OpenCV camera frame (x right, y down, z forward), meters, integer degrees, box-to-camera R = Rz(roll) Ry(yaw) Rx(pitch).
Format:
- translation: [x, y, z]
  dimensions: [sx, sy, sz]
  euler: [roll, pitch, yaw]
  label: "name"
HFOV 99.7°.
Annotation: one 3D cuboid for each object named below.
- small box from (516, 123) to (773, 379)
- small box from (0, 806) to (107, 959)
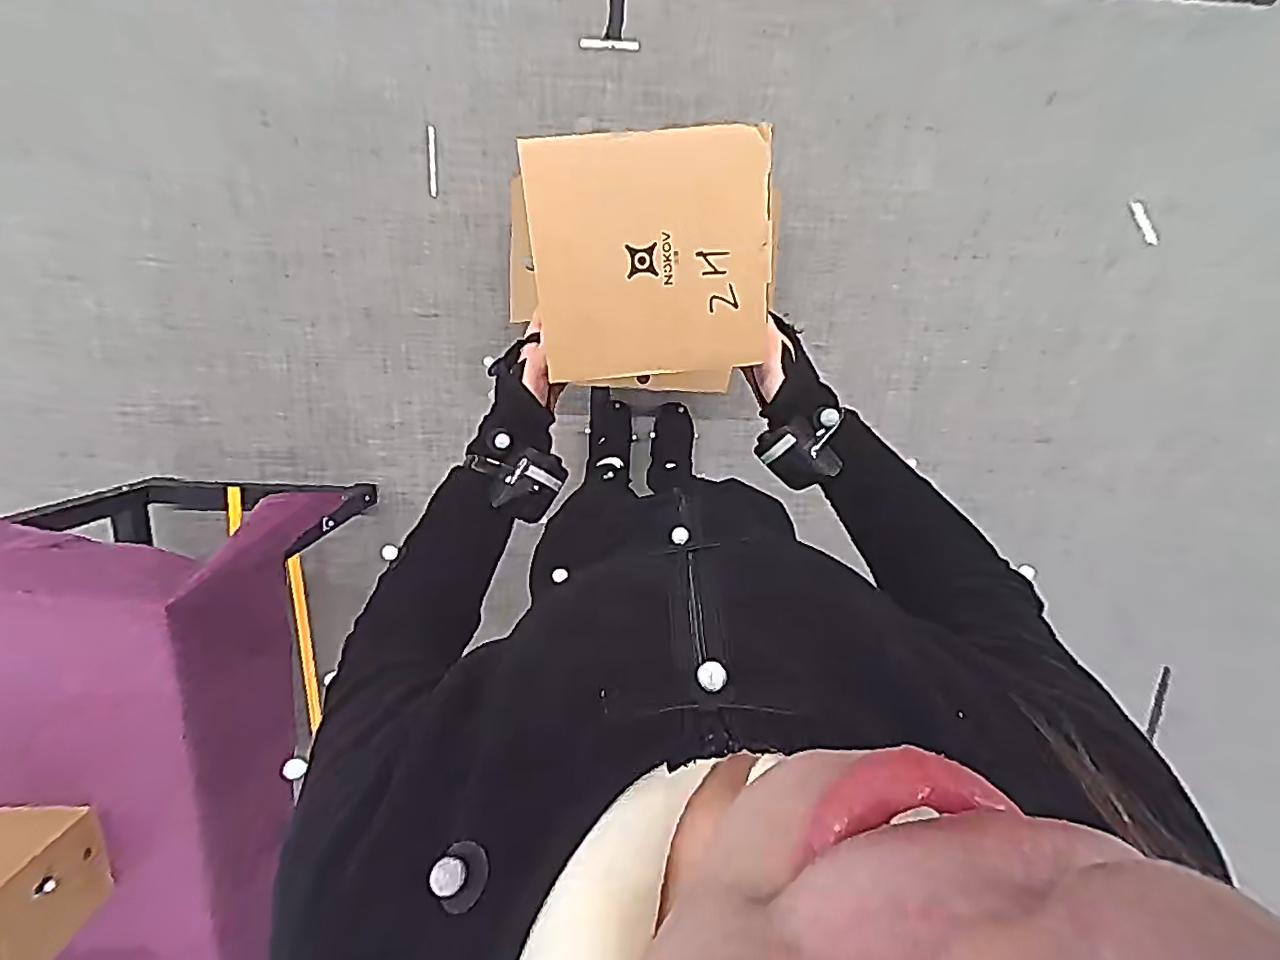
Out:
- translation: [0.003, -0.189, 0.465]
  dimensions: [0.179, 0.176, 0.168]
  euler: [-6, 113, -3]
  label: "small box"
- translation: [-0.894, 0.580, 0.744]
  dimensions: [0.179, 0.176, 0.168]
  euler: [2, 103, -3]
  label: "small box"
